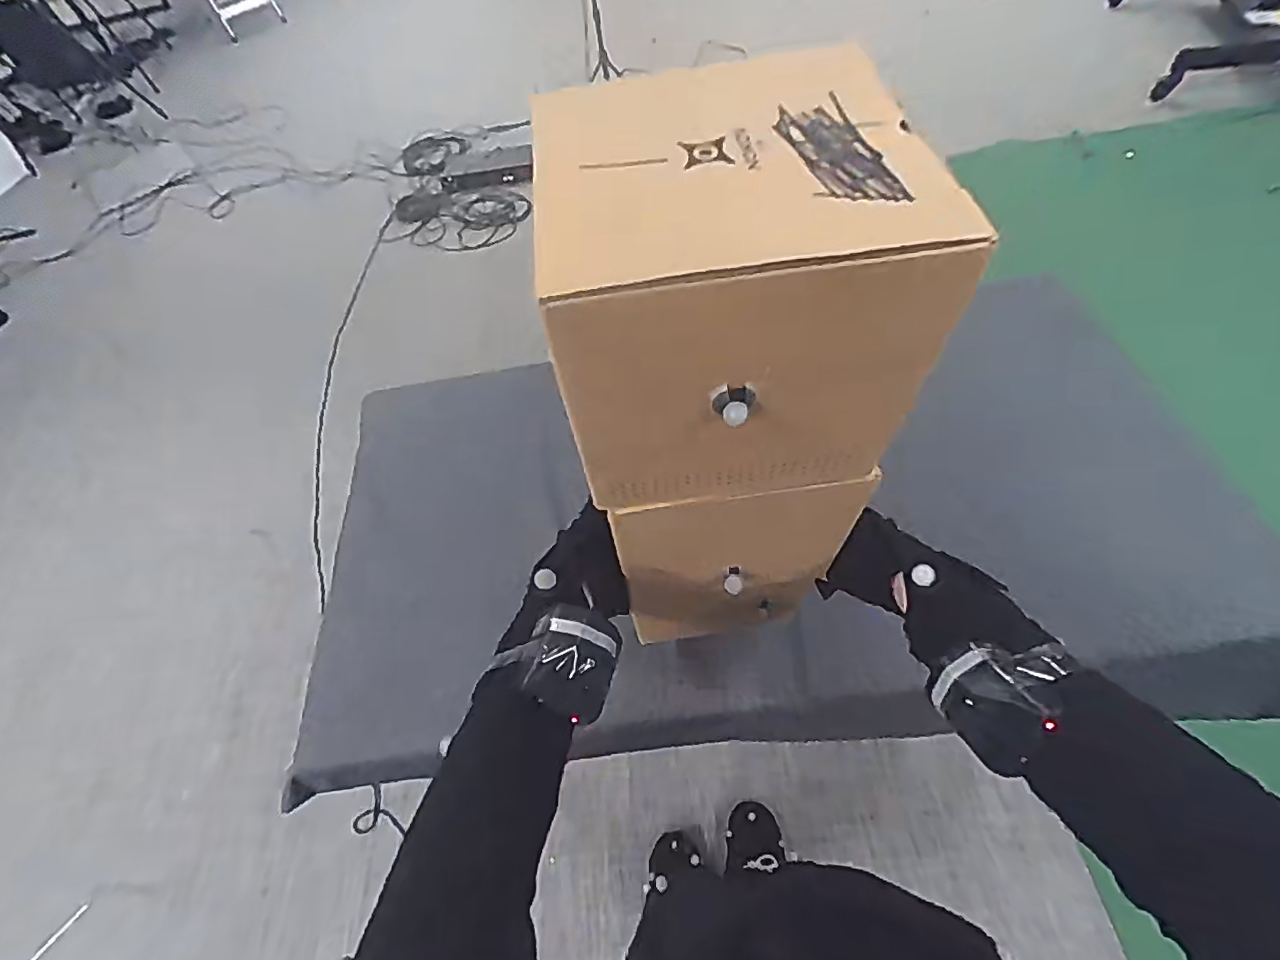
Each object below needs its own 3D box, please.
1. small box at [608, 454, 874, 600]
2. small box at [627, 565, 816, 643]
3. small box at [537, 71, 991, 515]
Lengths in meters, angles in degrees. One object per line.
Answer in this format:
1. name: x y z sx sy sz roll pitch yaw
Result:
1. small box: 0.062 -0.011 0.455 0.179 0.176 0.168 -8 57 0
2. small box: 0.073 0.069 0.598 0.179 0.176 0.168 -9 58 2
3. small box: 0.046 -0.097 0.317 0.179 0.176 0.168 -10 59 -2
